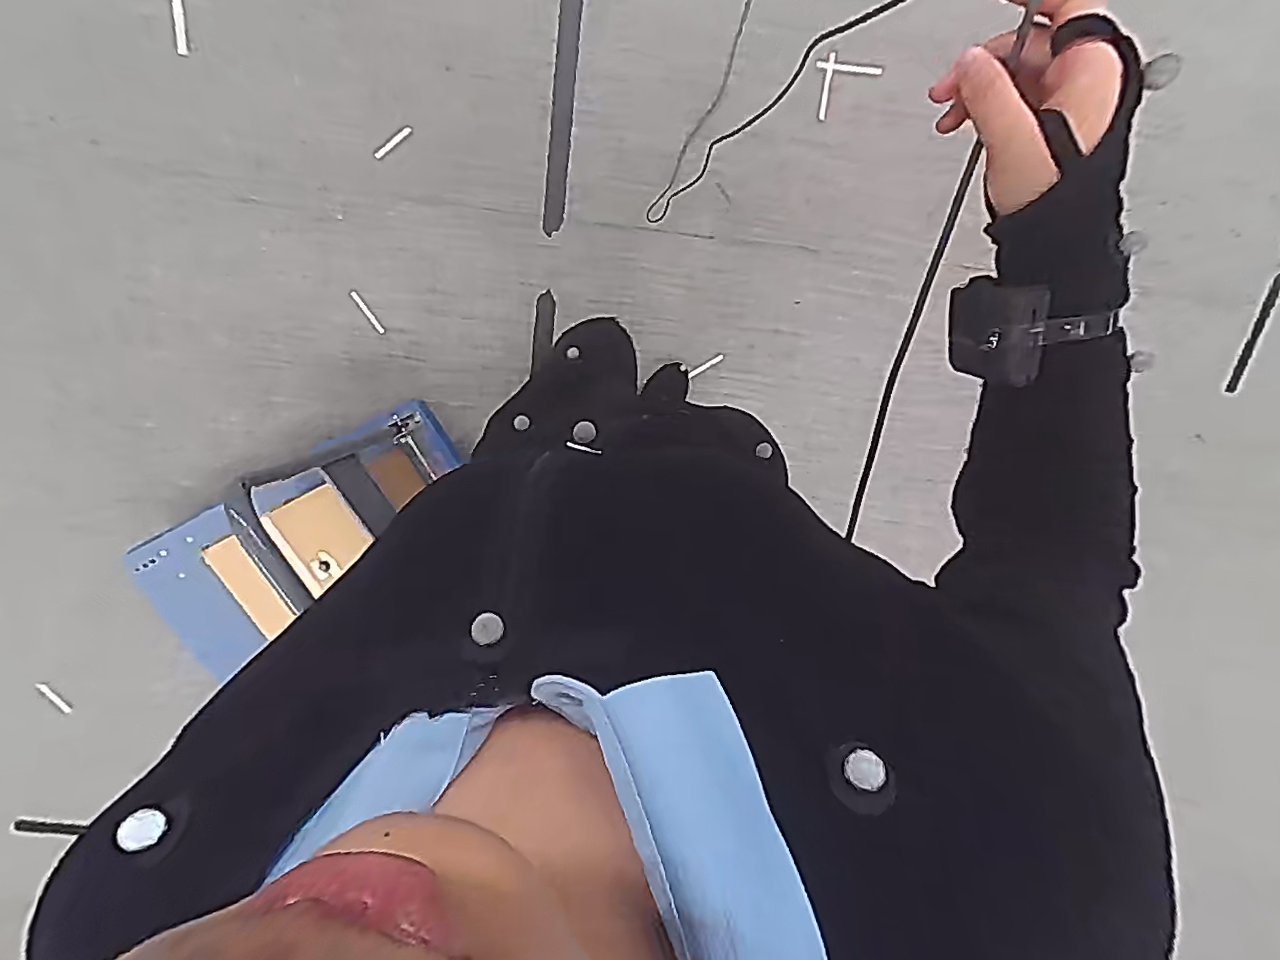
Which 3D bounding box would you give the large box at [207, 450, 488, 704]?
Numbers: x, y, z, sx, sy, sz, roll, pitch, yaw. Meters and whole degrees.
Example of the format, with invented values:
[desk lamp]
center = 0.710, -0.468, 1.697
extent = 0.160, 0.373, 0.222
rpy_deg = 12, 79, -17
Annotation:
[large box]
center = -0.607, 0.196, 1.207
extent = 0.320, 0.320, 0.408
rpy_deg = -27, 103, 5
